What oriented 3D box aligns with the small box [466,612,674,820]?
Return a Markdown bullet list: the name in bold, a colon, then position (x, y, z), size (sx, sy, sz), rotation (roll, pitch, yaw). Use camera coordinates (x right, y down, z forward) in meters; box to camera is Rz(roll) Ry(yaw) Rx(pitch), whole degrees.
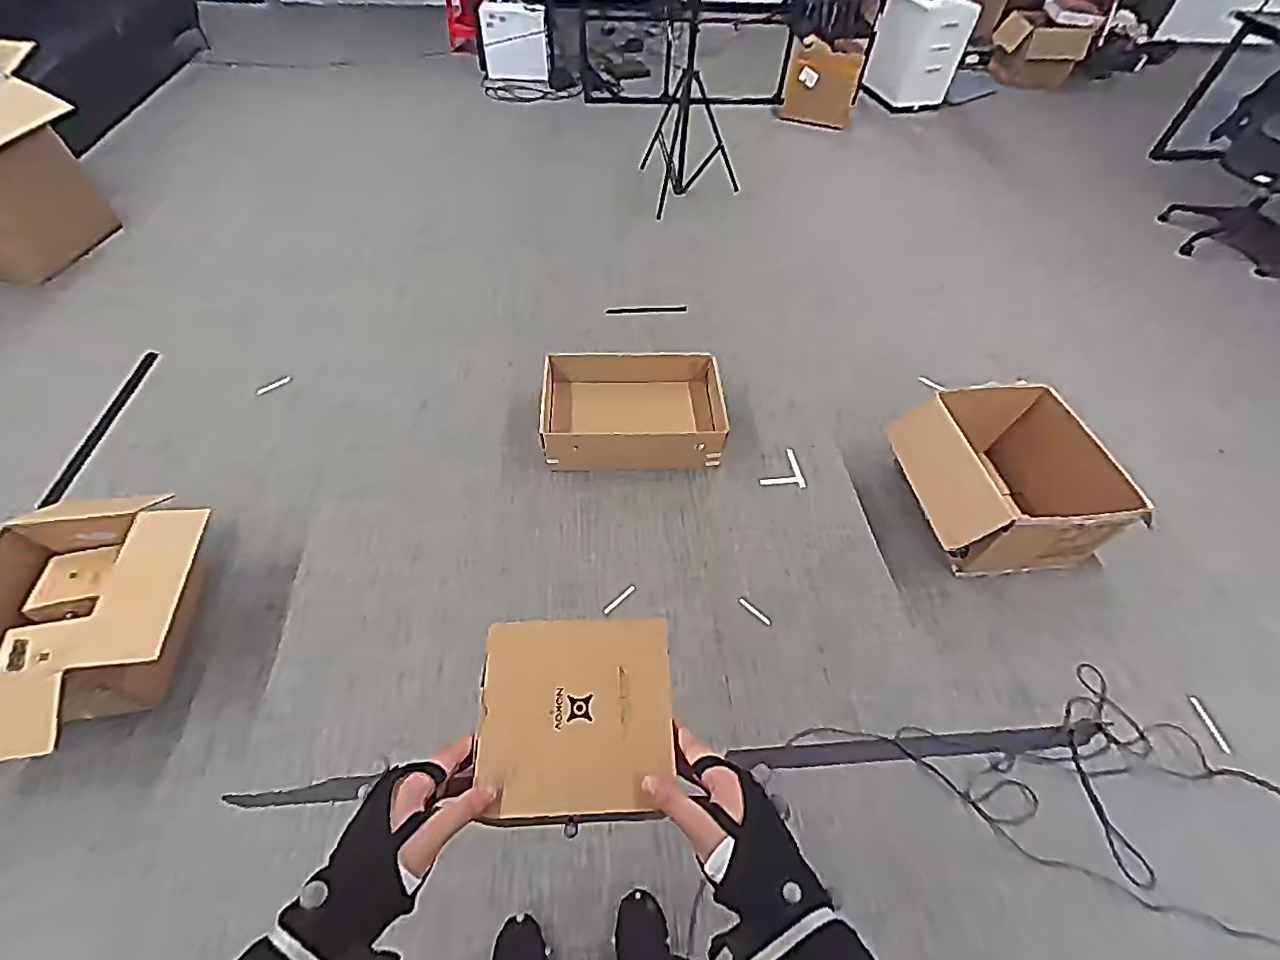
- **small box**: position (-0.064, 0.246, 0.557), size (0.179, 0.176, 0.168), rotation (-2, 56, -4)
